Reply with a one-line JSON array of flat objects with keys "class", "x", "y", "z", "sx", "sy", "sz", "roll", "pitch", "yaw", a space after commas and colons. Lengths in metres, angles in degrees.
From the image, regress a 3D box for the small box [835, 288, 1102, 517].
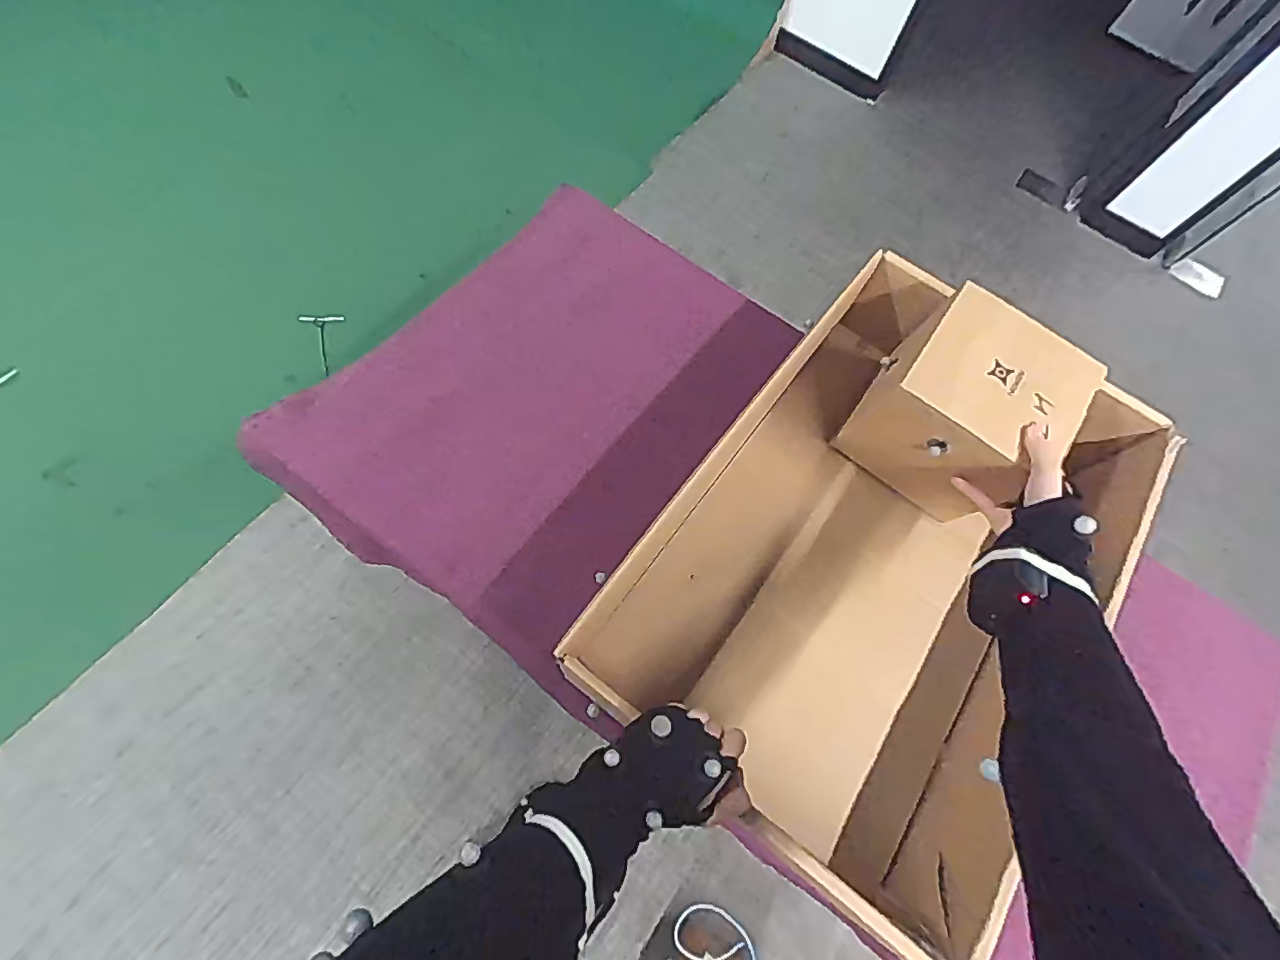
[{"class": "small box", "x": 0.364, "y": -0.076, "z": 0.632, "sx": 0.179, "sy": 0.176, "sz": 0.168, "roll": 37, "pitch": 75, "yaw": 6}]
